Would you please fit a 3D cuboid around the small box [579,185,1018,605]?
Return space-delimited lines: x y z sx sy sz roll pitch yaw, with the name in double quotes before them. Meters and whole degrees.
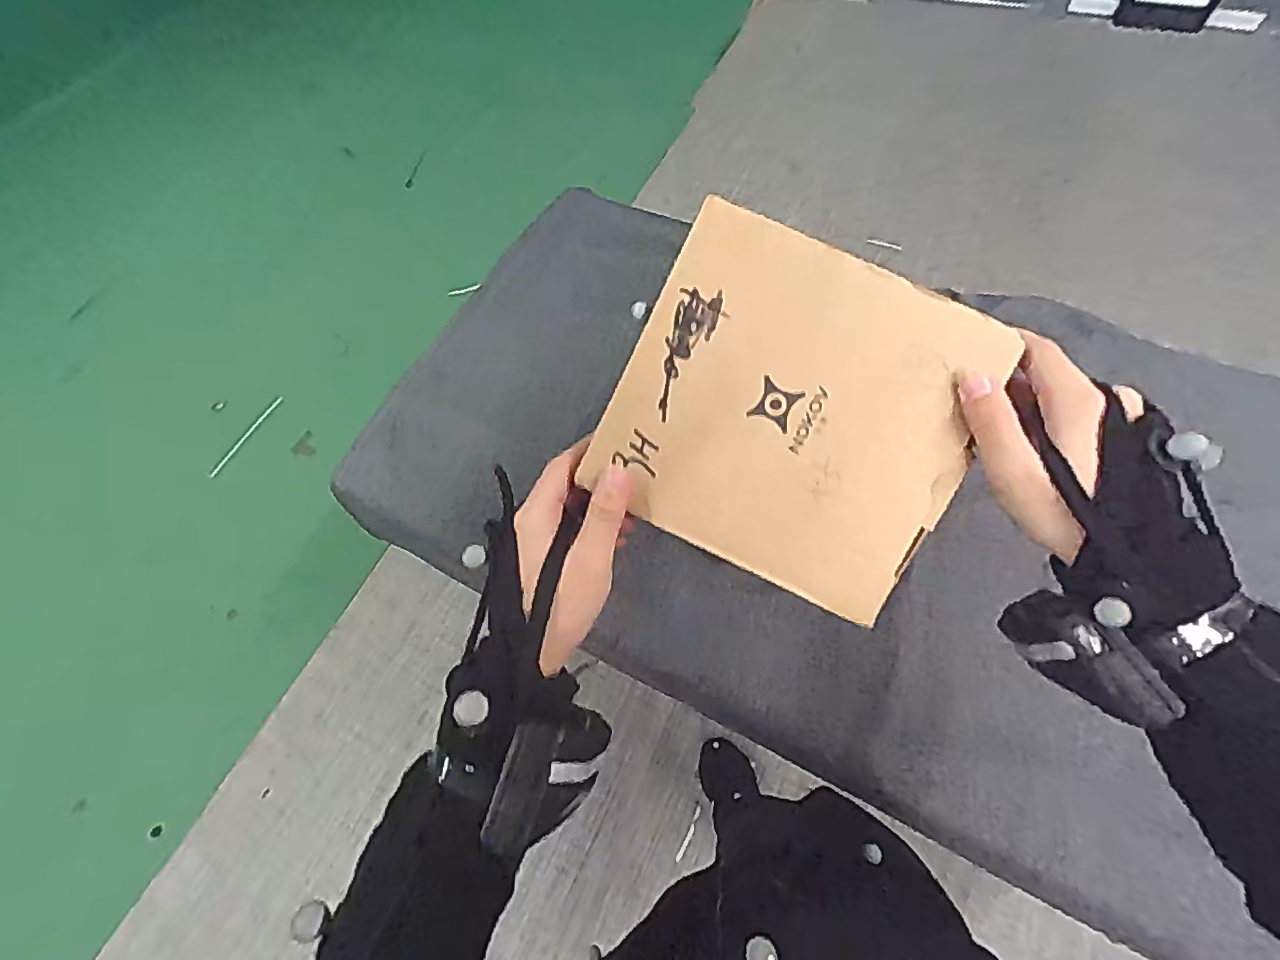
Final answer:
"small box" 0.085 -0.047 0.362 0.179 0.176 0.168 28 94 3
